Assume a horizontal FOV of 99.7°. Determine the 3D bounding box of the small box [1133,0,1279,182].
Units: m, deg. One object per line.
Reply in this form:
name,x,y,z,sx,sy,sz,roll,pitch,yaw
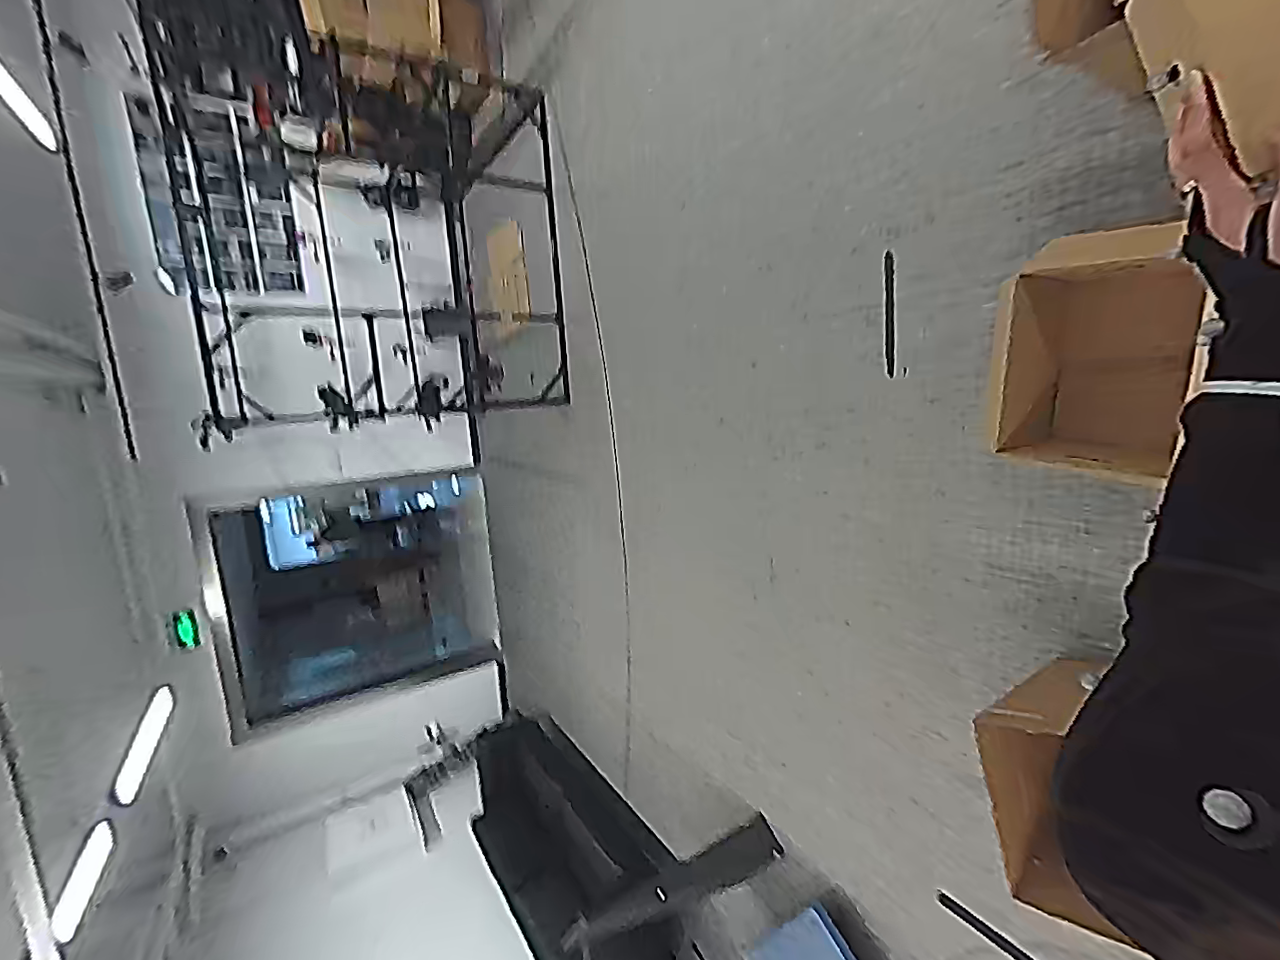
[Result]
small box,0.460,-0.322,0.351,0.168,0.176,0.179,-20,96,40
